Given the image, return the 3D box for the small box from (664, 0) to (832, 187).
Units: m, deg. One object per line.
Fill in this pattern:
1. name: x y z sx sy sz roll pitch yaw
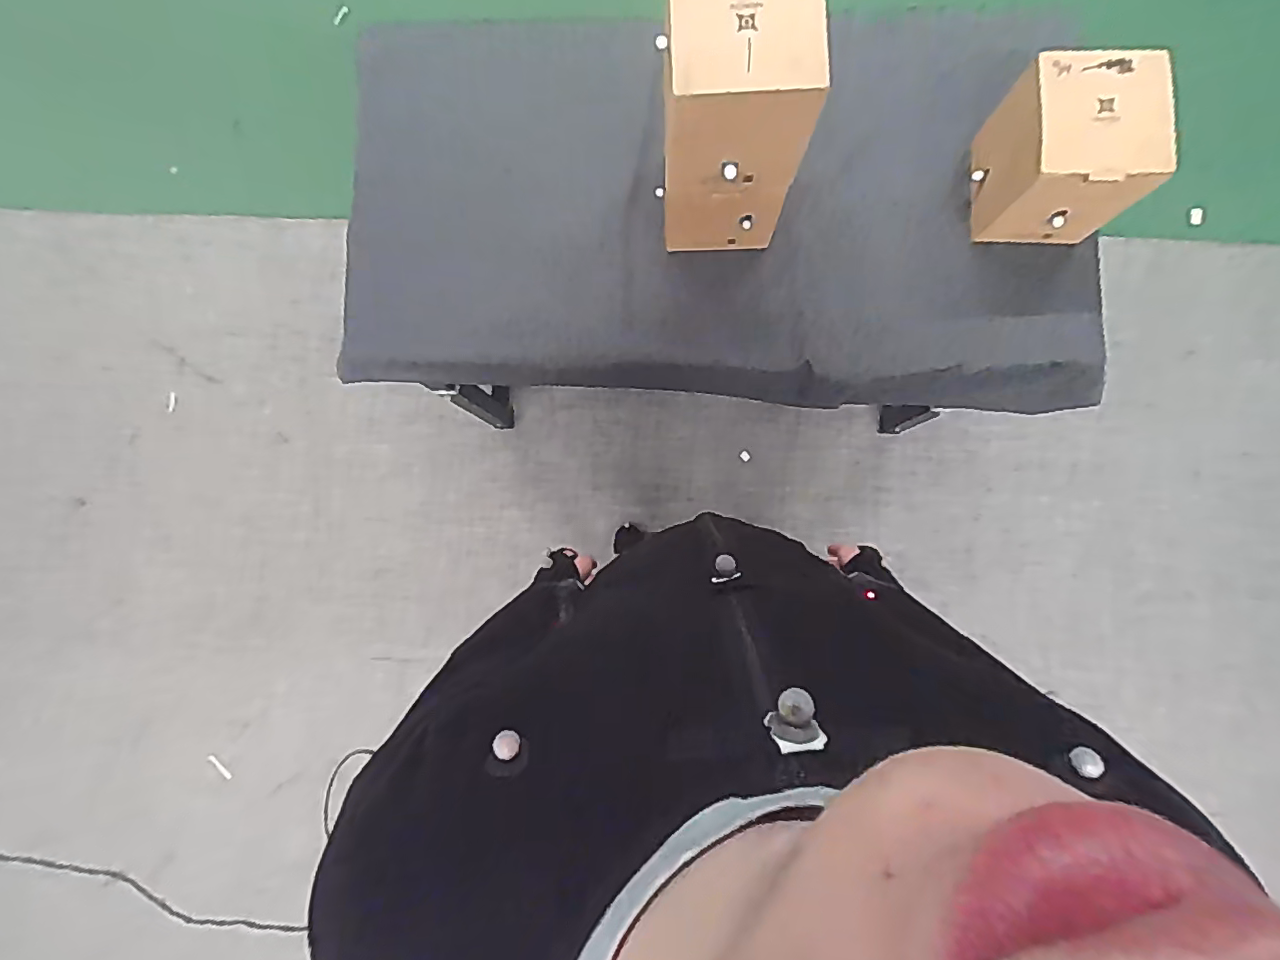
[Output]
1. small box: 0.113 -0.476 0.633 0.168 0.176 0.179 -1 86 1

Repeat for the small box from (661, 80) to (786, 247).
1. small box: 0.116 -0.464 0.797 0.168 0.176 0.179 0 84 1

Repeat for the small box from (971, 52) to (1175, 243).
1. small box: 0.602 -0.461 0.773 0.168 0.176 0.179 3 85 3
